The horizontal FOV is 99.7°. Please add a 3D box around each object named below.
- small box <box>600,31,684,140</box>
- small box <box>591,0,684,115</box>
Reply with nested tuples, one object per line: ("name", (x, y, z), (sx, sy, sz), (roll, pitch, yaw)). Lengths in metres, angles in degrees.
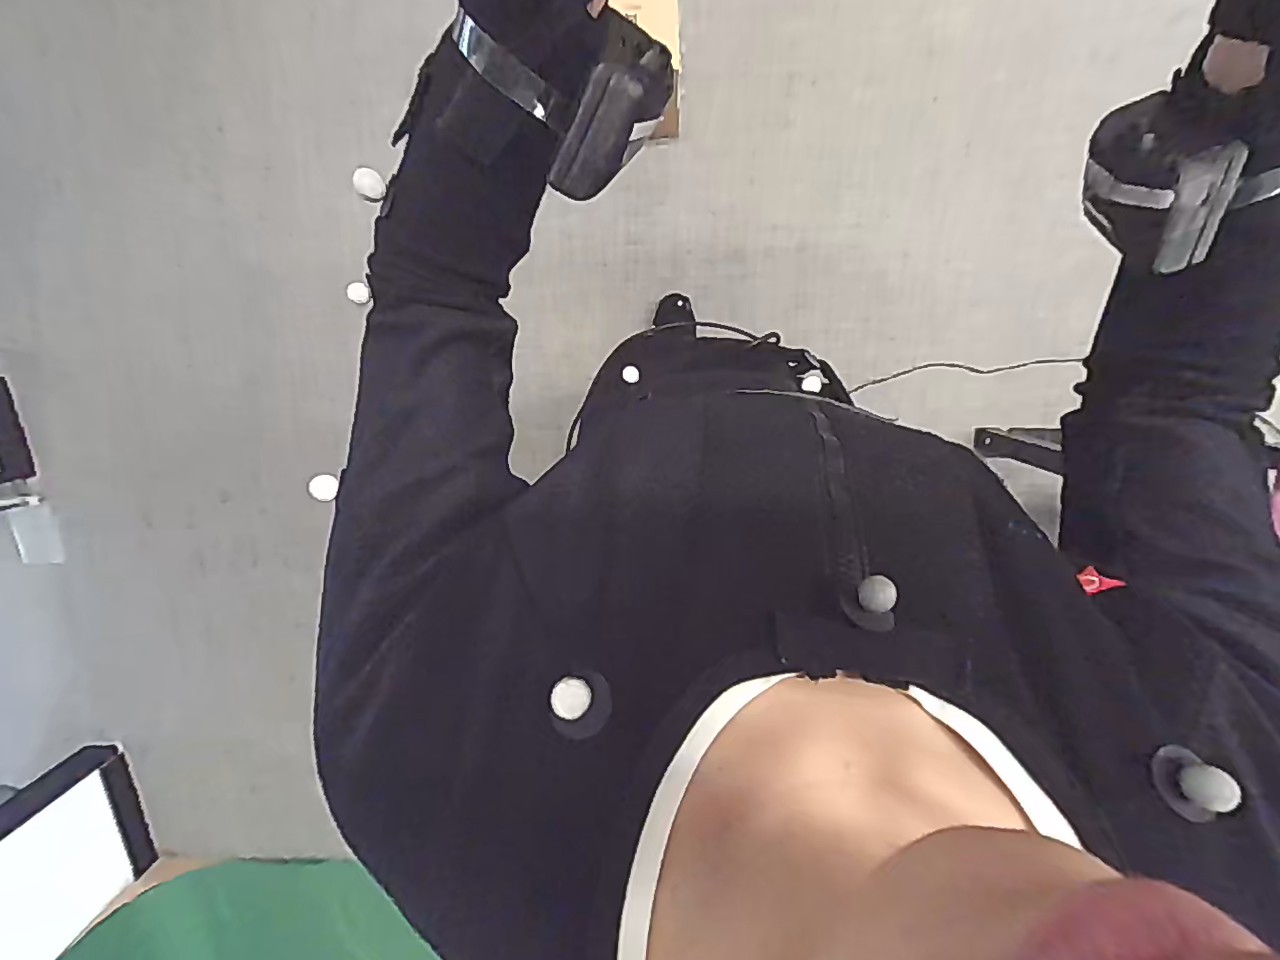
("small box", (0.007, -0.868, 1.186), (0.179, 0.176, 0.168), (0, 104, 3))
("small box", (-0.002, -0.829, 1.027), (0.168, 0.176, 0.179), (0, 103, 3))
